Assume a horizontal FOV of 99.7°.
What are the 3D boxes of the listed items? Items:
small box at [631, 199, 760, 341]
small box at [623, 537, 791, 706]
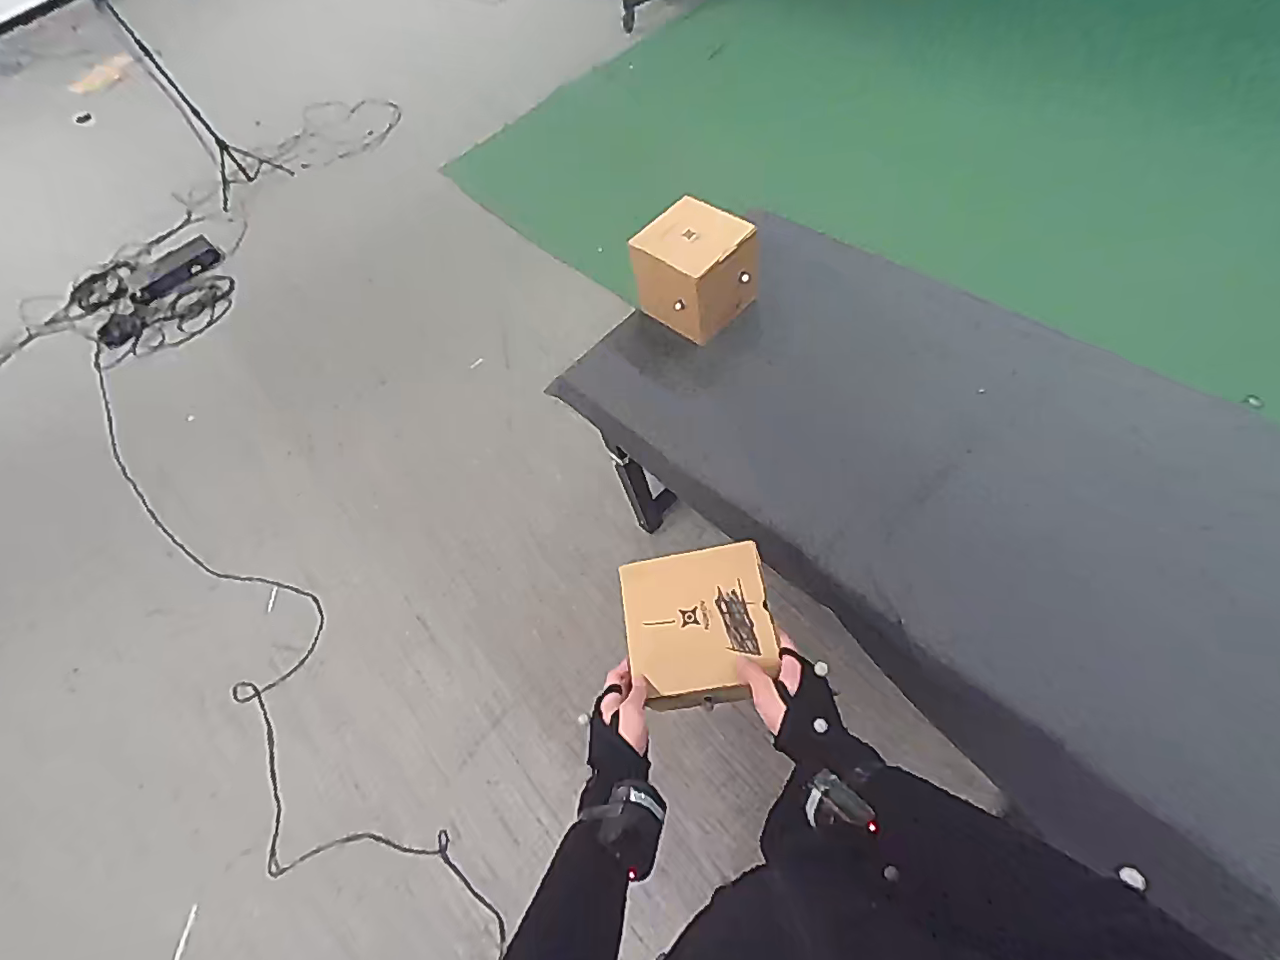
[{"bbox_3d":[0.111,-0.396,1.040,0.168,0.176,0.179,-43,61,-17],"label":"small box"},{"bbox_3d":[0.084,0.189,0.700,0.179,0.176,0.168,-10,61,6],"label":"small box"}]
